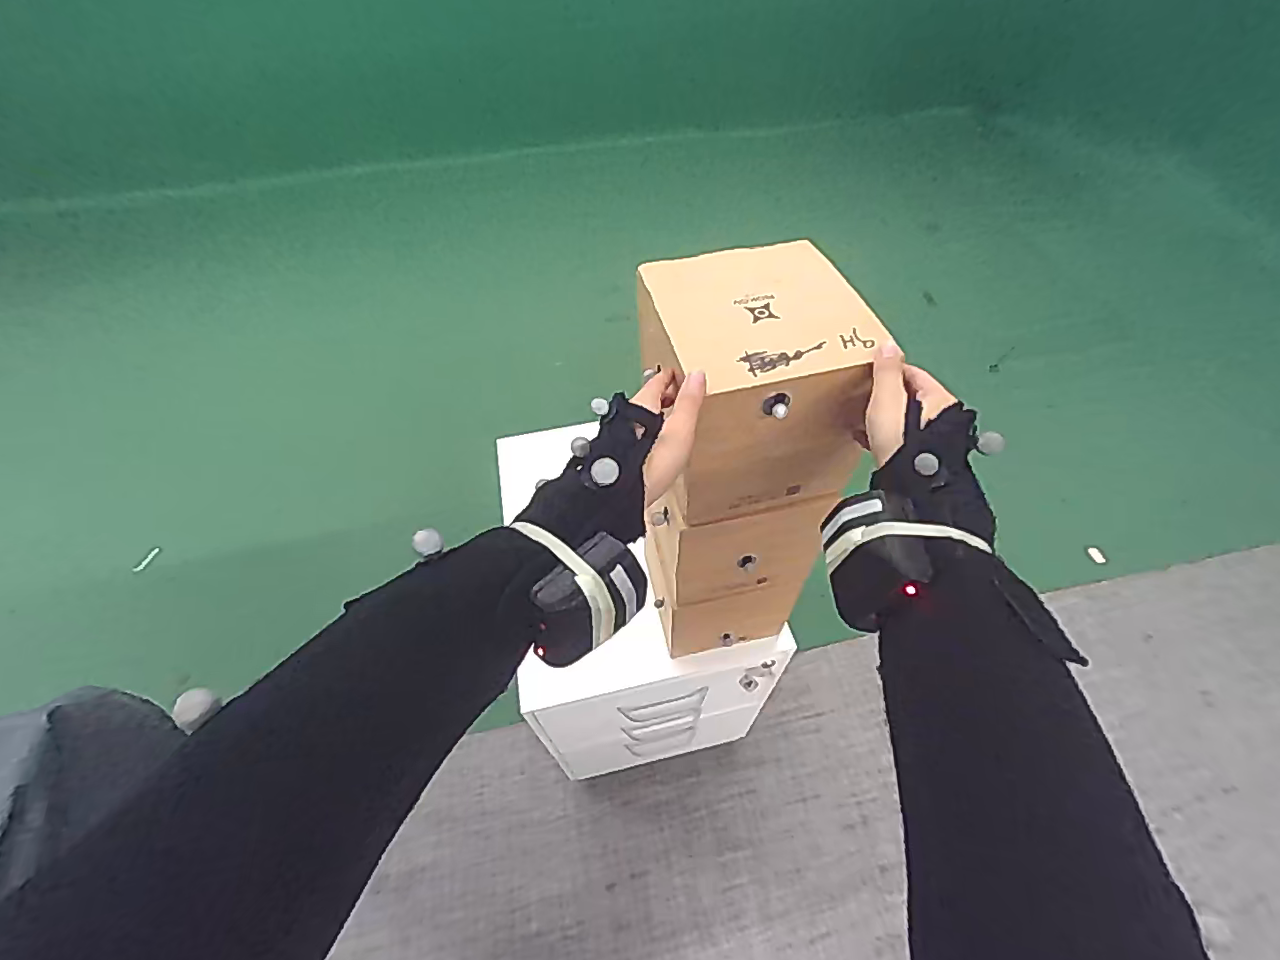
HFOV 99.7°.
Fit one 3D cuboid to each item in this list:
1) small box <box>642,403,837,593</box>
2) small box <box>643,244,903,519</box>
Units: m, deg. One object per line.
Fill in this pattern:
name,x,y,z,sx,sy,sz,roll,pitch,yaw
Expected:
small box,0.100,0.016,0.629,0.168,0.176,0.179,-10,53,-6
small box,0.099,-0.090,0.503,0.168,0.176,0.179,-12,52,-7
